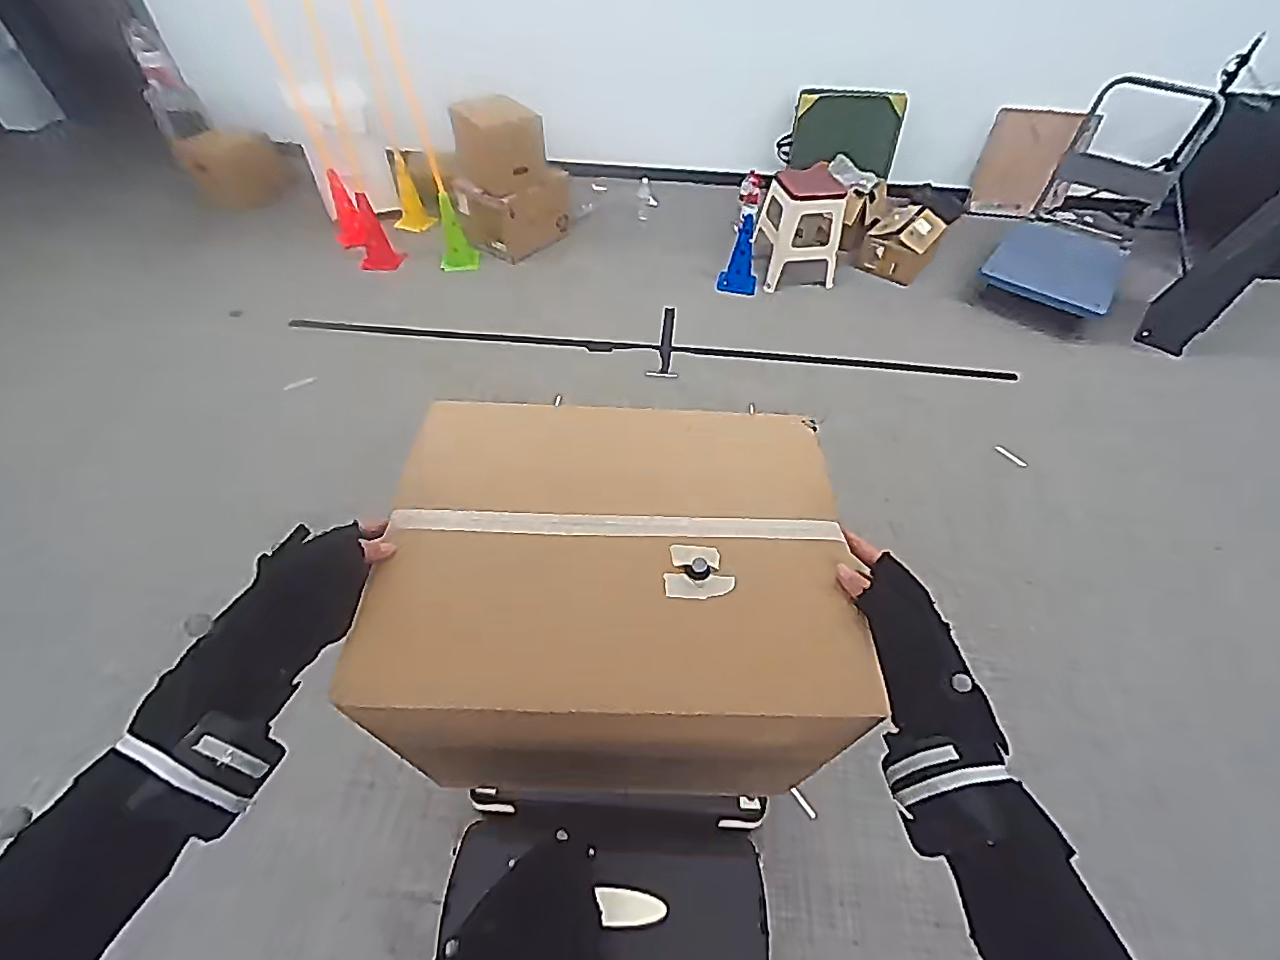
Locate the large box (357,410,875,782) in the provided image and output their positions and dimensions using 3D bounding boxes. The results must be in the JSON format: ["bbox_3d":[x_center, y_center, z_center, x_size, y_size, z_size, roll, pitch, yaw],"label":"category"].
[{"bbox_3d":[-0.024,0.140,0.616,0.408,0.320,0.320,2,51,-2],"label":"large box"}]

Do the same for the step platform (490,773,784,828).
[{"bbox_3d":[-0.006,0.647,1.308,0.684,0.204,0.286,4,50,-1],"label":"step platform"}]
